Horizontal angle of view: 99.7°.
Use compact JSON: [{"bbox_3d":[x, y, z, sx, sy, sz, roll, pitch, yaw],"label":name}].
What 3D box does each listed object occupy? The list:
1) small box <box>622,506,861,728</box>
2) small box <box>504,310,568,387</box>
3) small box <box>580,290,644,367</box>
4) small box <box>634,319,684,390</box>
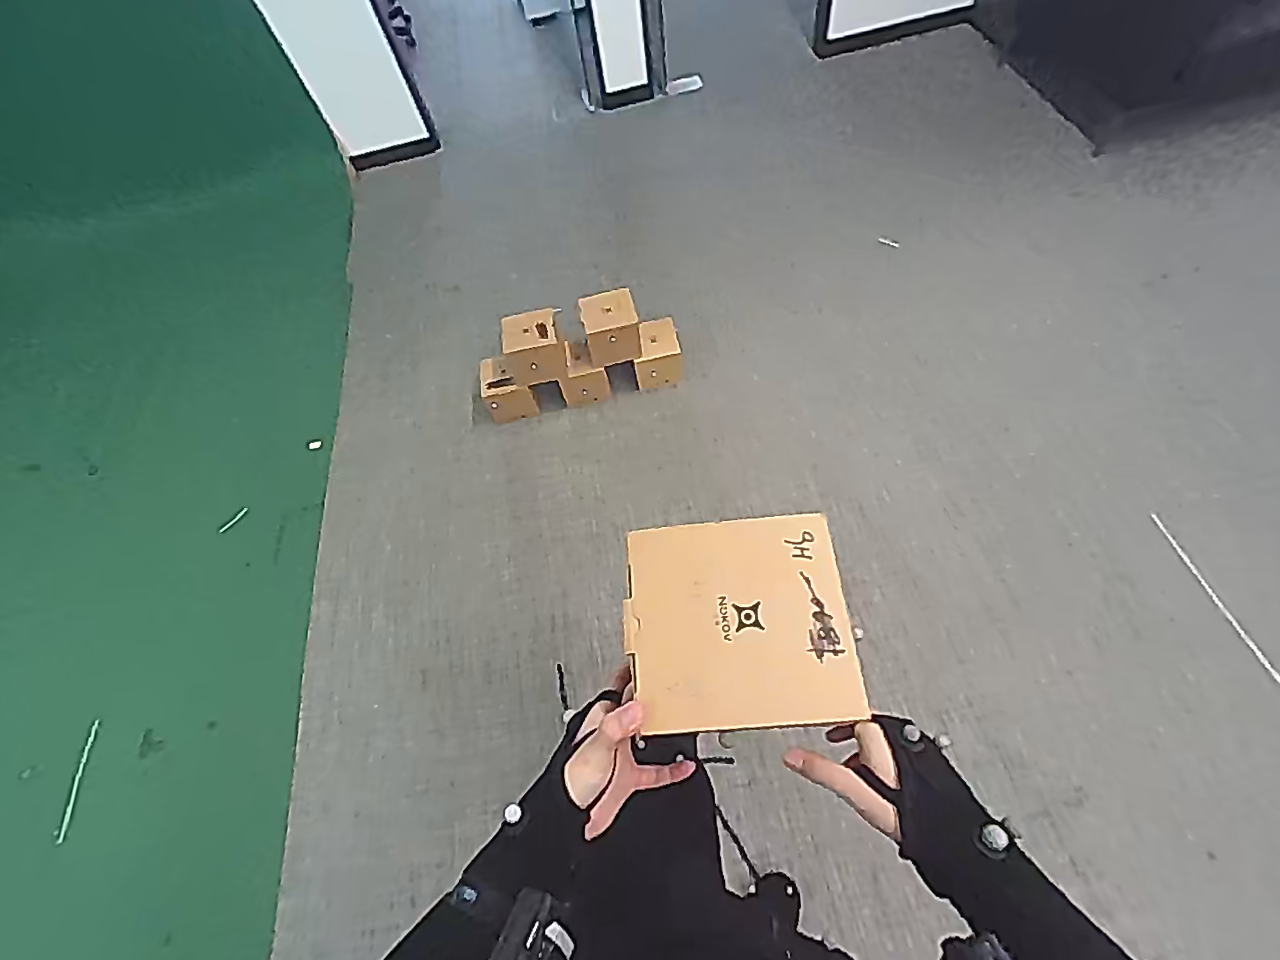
[{"bbox_3d":[0.085,0.139,0.512,0.179,0.176,0.168,-6,64,4],"label":"small box"},{"bbox_3d":[-0.344,-0.438,1.817,0.179,0.176,0.168,-11,59,3],"label":"small box"},{"bbox_3d":[-0.092,-0.503,1.820,0.179,0.176,0.168,-13,60,-2],"label":"small box"},{"bbox_3d":[0.061,-0.446,1.956,0.168,0.176,0.179,-12,59,1],"label":"small box"}]
